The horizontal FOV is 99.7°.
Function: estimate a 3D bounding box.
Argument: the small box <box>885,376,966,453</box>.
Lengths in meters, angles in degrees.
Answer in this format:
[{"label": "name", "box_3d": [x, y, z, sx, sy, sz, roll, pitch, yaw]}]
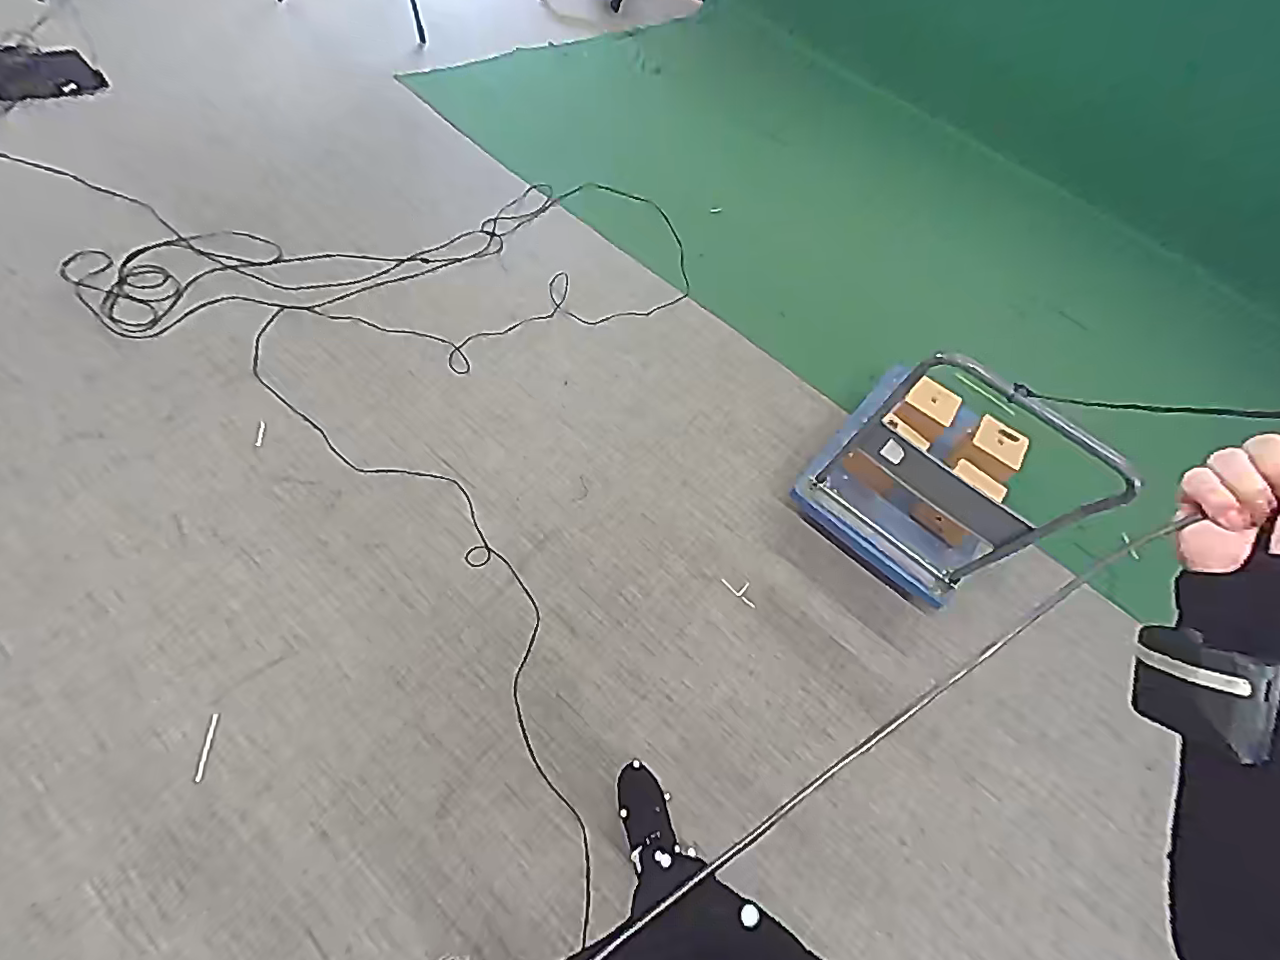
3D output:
[{"label": "small box", "box_3d": [1.002, -0.227, 1.910, 0.168, 0.176, 0.179, 37, 58, 11]}]

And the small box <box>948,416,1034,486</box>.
[{"label": "small box", "box_3d": [1.201, -0.081, 1.861, 0.168, 0.176, 0.179, 36, 59, 12]}]

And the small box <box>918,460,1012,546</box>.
[{"label": "small box", "box_3d": [1.029, 0.076, 1.725, 0.168, 0.176, 0.179, 41, 60, 14]}]
